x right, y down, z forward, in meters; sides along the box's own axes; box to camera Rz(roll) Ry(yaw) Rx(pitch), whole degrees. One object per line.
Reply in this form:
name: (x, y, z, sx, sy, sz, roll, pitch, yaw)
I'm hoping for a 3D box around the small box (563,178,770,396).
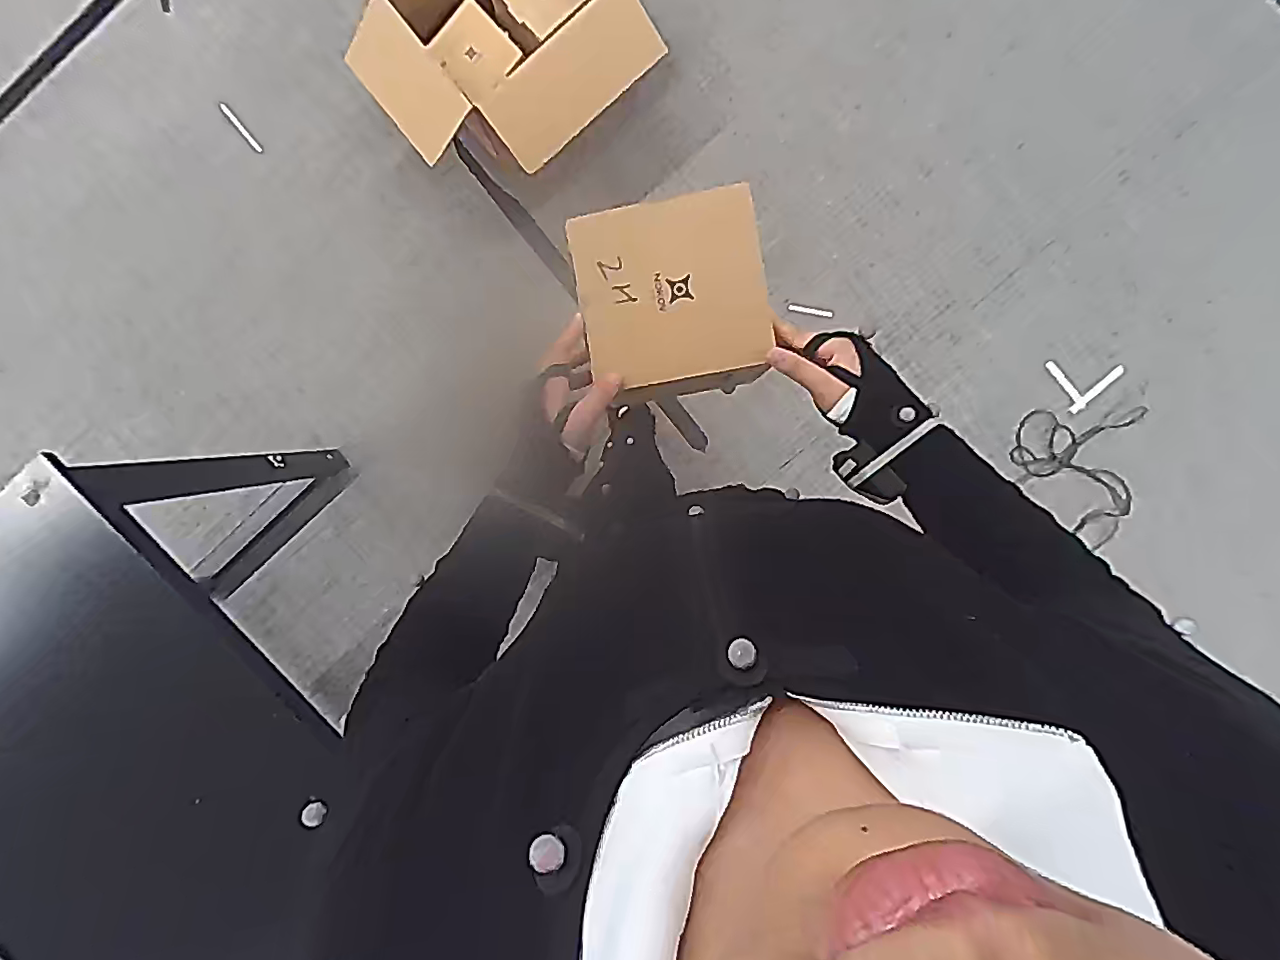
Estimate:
small box: (0.028, -0.189, 0.583, 0.179, 0.176, 0.168, -9, 93, 4)
